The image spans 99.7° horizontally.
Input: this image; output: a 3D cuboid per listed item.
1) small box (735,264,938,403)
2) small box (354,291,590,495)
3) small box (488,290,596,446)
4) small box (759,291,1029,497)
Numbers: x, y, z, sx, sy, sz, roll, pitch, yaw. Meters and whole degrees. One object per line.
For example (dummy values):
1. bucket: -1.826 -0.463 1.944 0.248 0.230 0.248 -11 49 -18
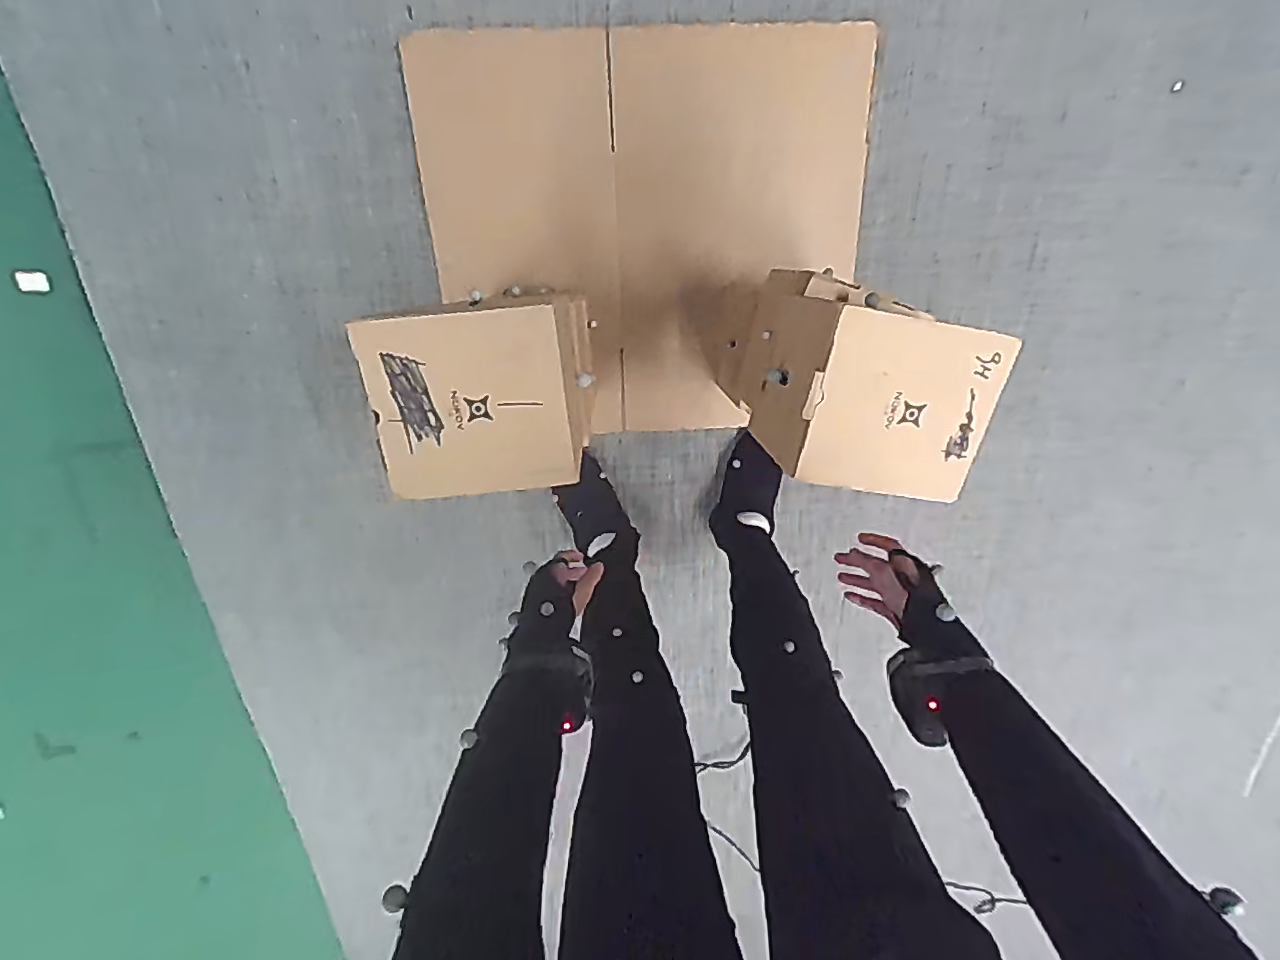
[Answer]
1. small box: 0.242 -0.172 0.715 0.168 0.176 0.179 16 110 -10
2. small box: -0.148 -0.097 0.548 0.179 0.176 0.168 -6 112 -1
3. small box: -0.147 -0.148 0.705 0.168 0.176 0.179 -5 112 -2
4. small box: 0.241 -0.099 0.568 0.179 0.176 0.168 8 111 -6
